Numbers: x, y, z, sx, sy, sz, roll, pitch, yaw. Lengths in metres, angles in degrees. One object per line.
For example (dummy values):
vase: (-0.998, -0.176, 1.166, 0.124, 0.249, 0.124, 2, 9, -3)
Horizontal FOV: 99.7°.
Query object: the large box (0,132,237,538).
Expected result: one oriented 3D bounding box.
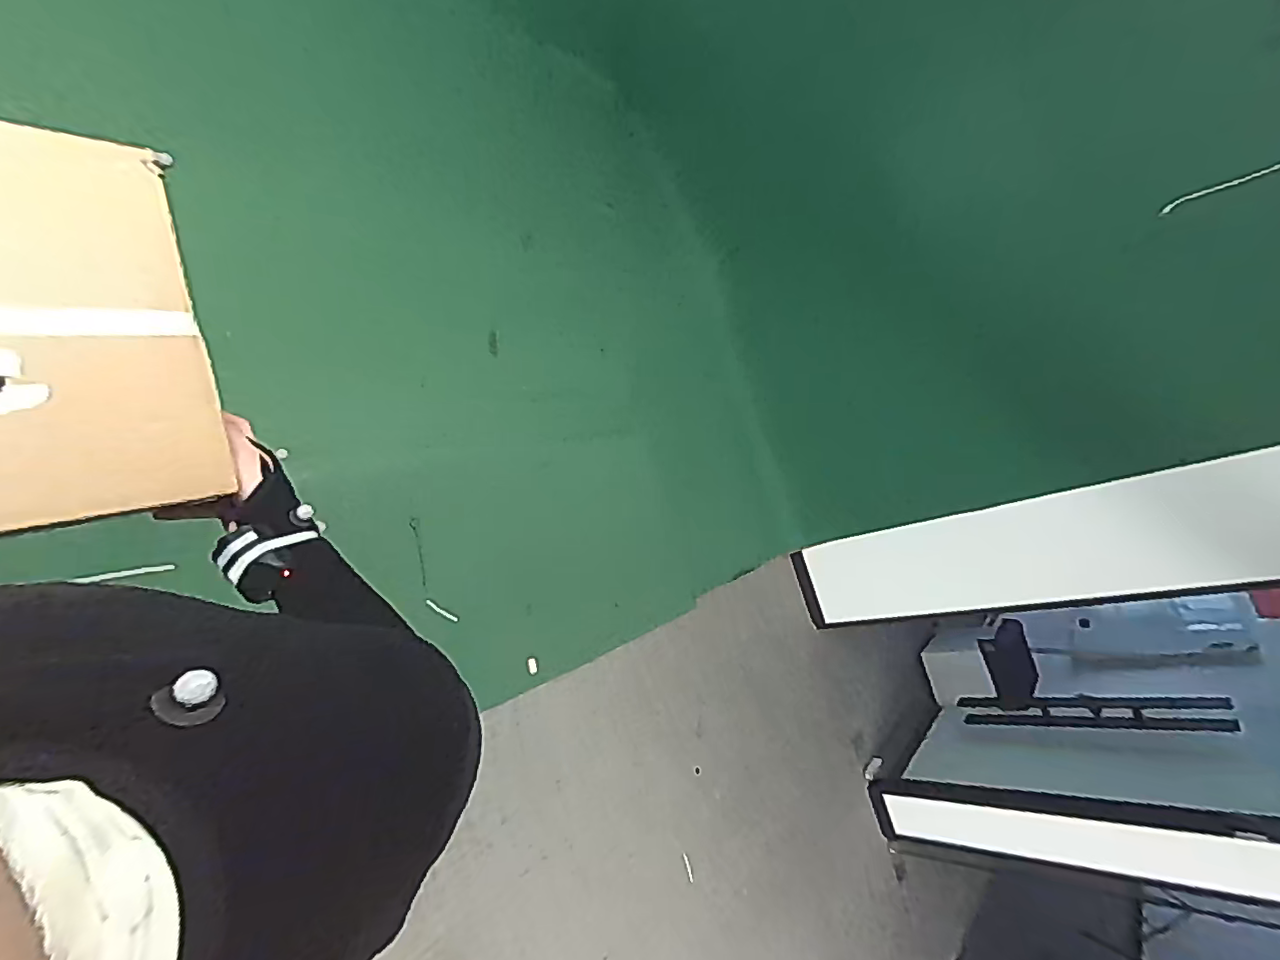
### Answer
large box: (-0.653, -0.092, 0.461, 0.408, 0.320, 0.320, -16, 98, -47)
